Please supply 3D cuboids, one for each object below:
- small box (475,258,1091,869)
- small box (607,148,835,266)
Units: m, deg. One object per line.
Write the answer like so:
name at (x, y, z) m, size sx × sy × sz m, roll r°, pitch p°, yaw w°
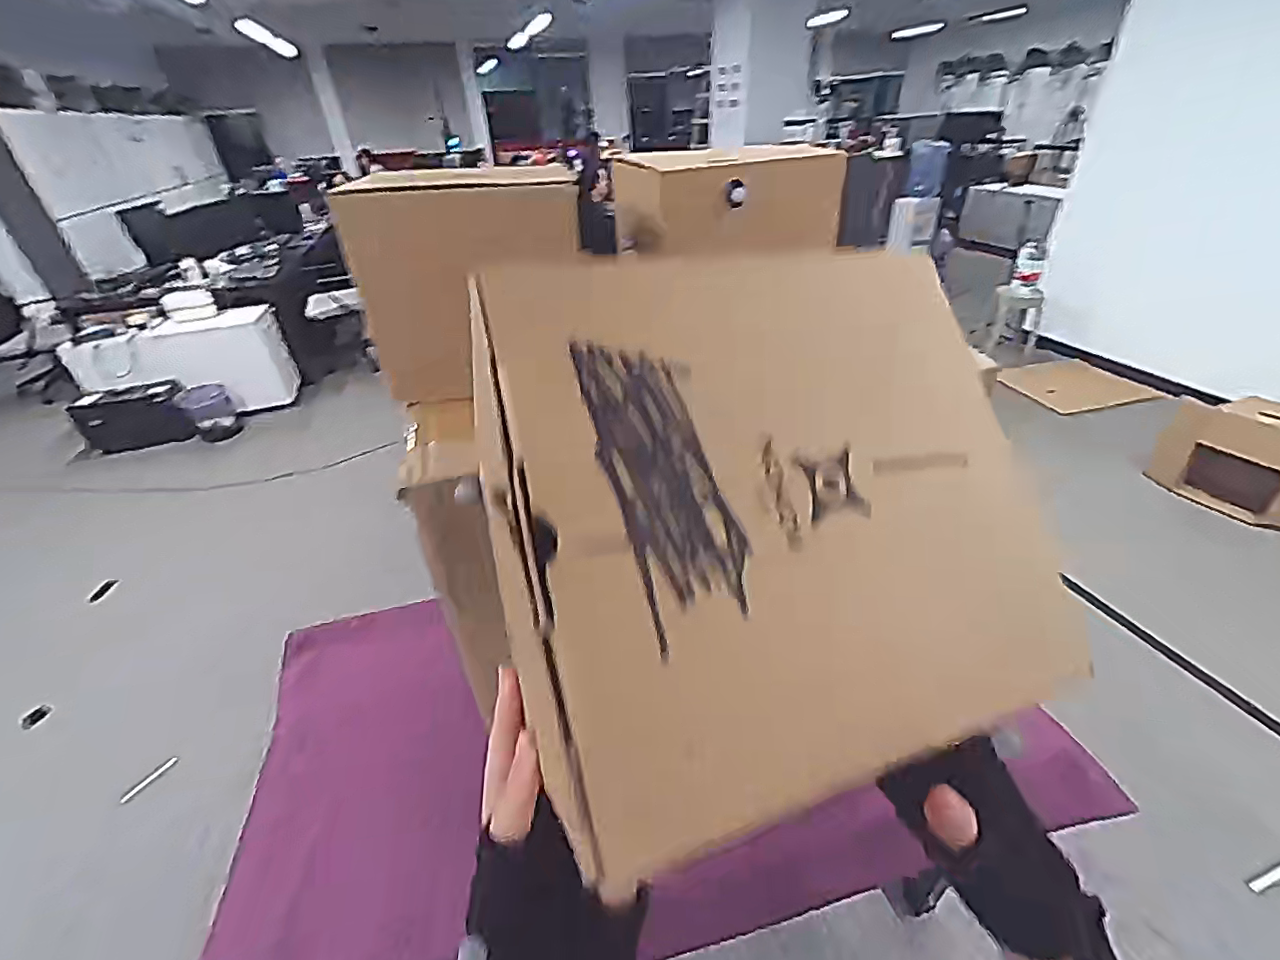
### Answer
small box at (0.029, 0.025, 0.243) m, size 0.179 × 0.176 × 0.168 m, roll -9°, pitch 77°, yaw -19°
small box at (0.069, -0.233, 0.551) m, size 0.168 × 0.176 × 0.179 m, roll -13°, pitch 34°, yaw -11°
